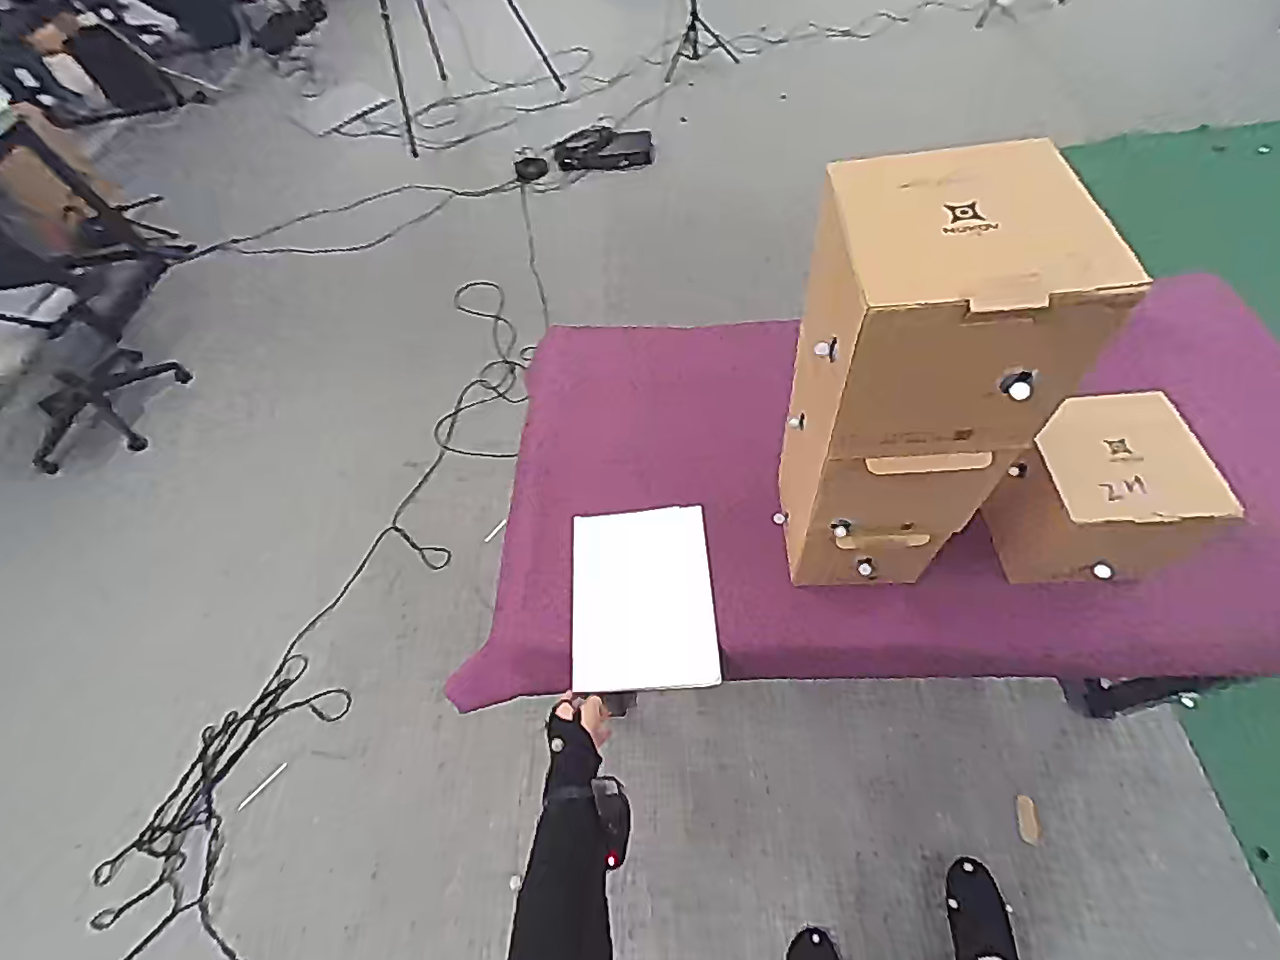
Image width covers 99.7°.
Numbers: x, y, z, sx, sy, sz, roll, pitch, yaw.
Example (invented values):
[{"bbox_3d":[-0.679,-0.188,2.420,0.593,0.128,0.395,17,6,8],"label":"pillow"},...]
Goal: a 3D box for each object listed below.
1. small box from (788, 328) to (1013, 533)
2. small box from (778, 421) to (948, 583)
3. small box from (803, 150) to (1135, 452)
[{"bbox_3d":[0.258,-0.050,0.586,0.168,0.176,0.179,-3,56,8],"label":"small box"},{"bbox_3d":[0.282,0.033,0.726,0.168,0.176,0.179,-3,58,8],"label":"small box"},{"bbox_3d":[0.235,-0.134,0.447,0.168,0.176,0.179,-2,57,8],"label":"small box"}]
